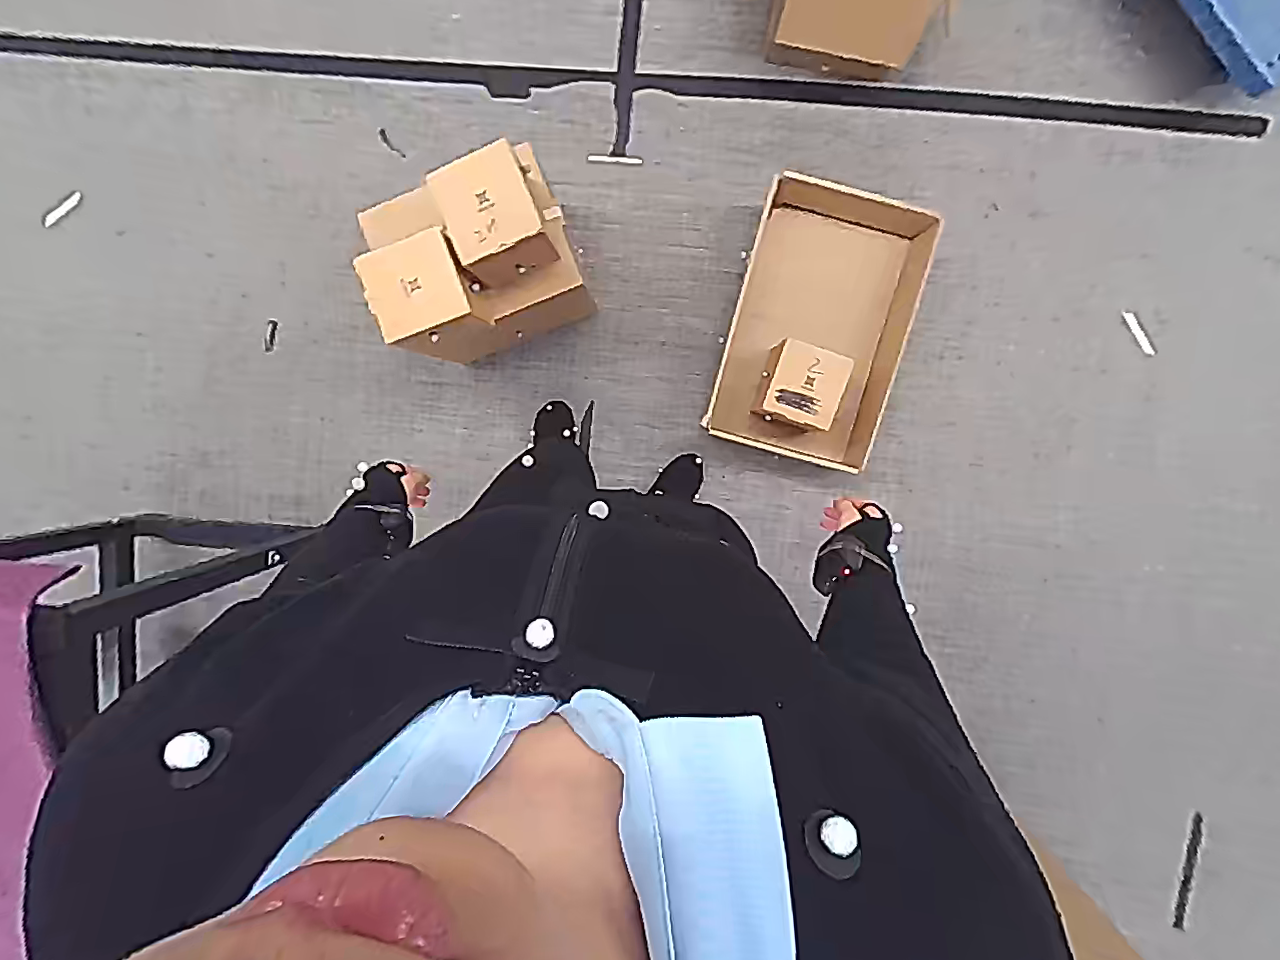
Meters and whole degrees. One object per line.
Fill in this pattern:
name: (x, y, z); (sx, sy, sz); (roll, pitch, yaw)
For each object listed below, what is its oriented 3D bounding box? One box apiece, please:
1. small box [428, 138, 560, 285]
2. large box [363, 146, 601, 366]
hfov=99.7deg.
small box: (-0.271, -0.505, 1.045); (0.168, 0.176, 0.179); (-22, 95, 5)
large box: (-0.347, -0.500, 1.296); (0.408, 0.320, 0.320); (-21, 94, 5)
